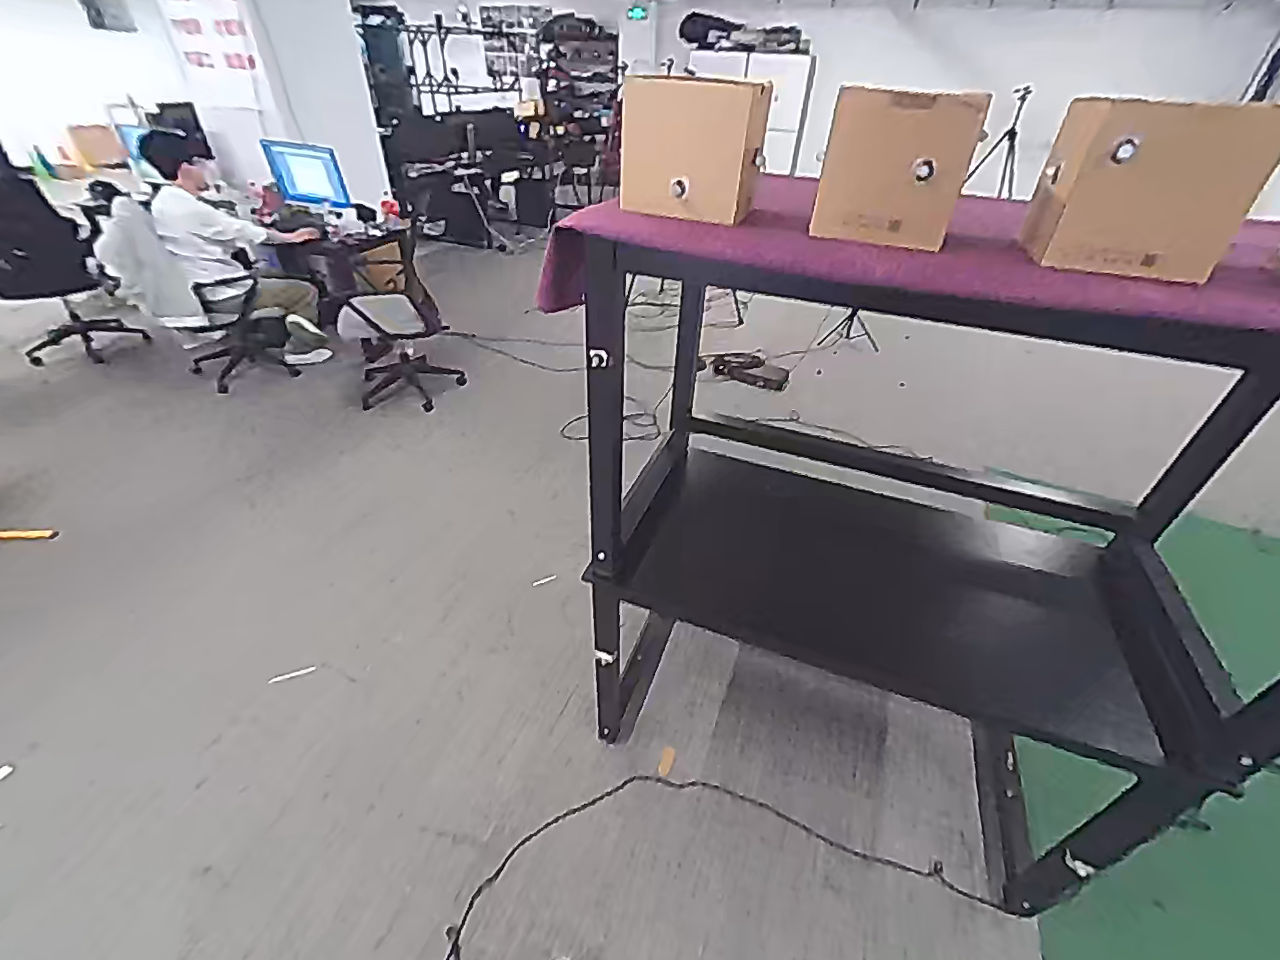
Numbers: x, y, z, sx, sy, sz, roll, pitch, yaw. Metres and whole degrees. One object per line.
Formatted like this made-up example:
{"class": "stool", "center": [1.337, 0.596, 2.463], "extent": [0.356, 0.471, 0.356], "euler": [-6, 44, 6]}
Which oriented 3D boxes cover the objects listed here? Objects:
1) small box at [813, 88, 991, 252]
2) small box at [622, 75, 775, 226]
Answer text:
{"class": "small box", "center": [0.339, -0.414, 0.722], "extent": [0.168, 0.176, 0.179], "euler": [17, 38, 17]}
{"class": "small box", "center": [0.084, -0.482, 0.793], "extent": [0.179, 0.176, 0.168], "euler": [15, 38, 14]}
